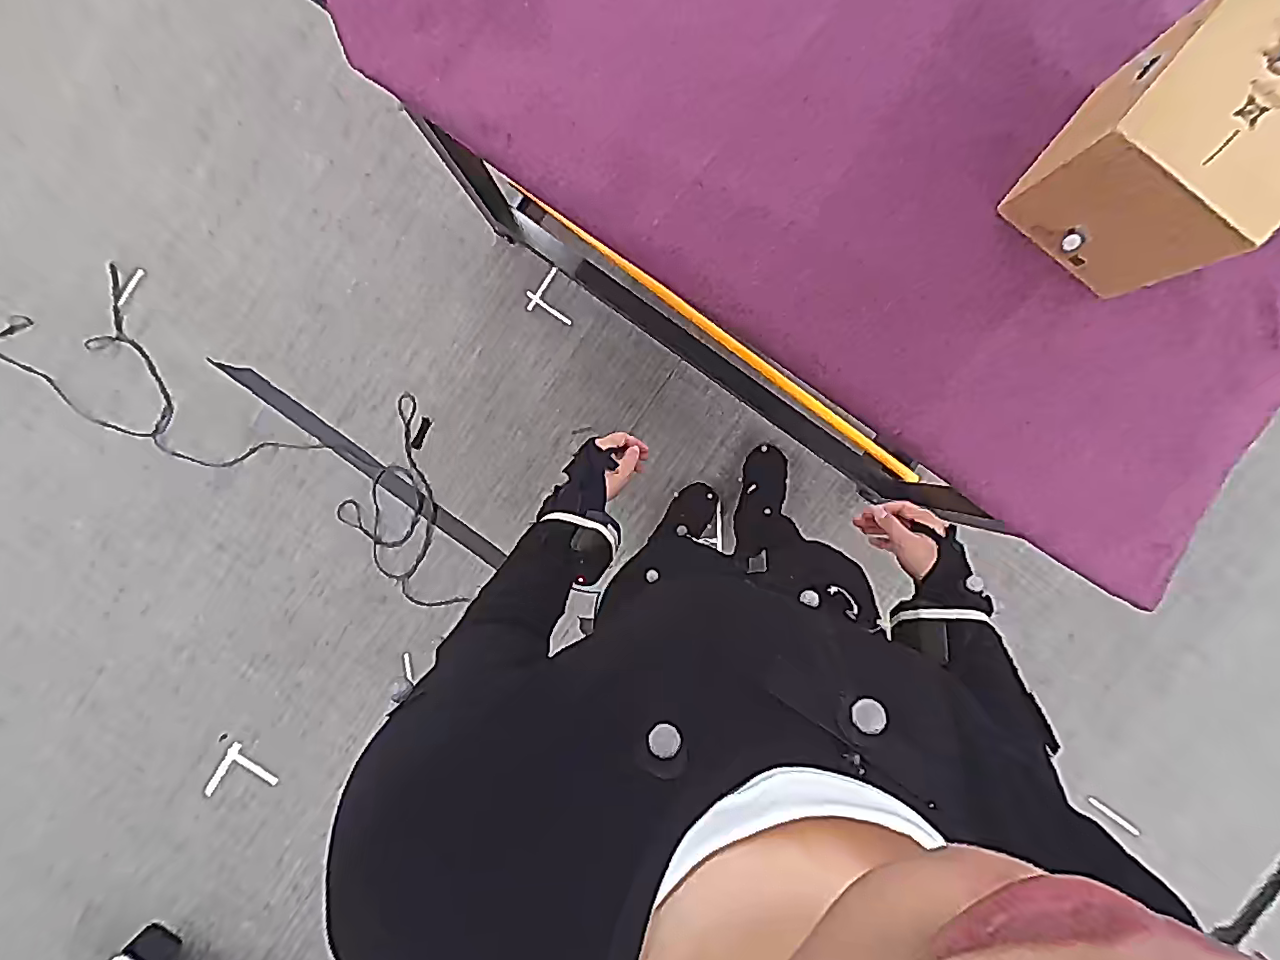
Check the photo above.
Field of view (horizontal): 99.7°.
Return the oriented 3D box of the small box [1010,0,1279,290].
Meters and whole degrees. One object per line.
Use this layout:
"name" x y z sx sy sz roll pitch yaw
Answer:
"small box" 0.527 -0.325 0.537 0.168 0.176 0.179 39 94 -1
